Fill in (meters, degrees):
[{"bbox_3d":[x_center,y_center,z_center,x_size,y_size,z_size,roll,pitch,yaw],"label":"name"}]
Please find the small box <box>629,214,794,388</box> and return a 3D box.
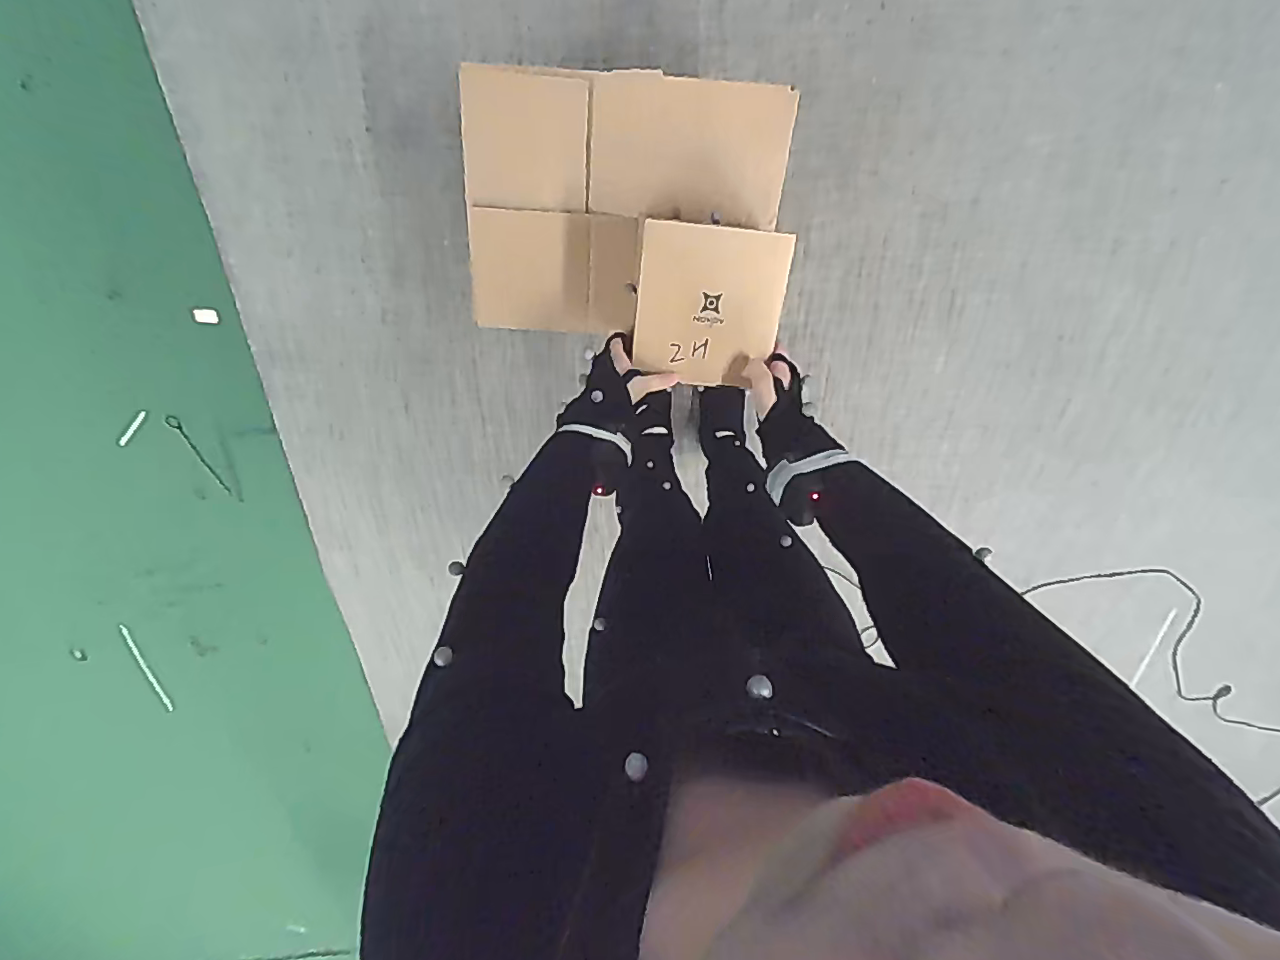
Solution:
[{"bbox_3d":[0.074,-0.229,0.680,0.168,0.176,0.179,5,116,-3],"label":"small box"}]
